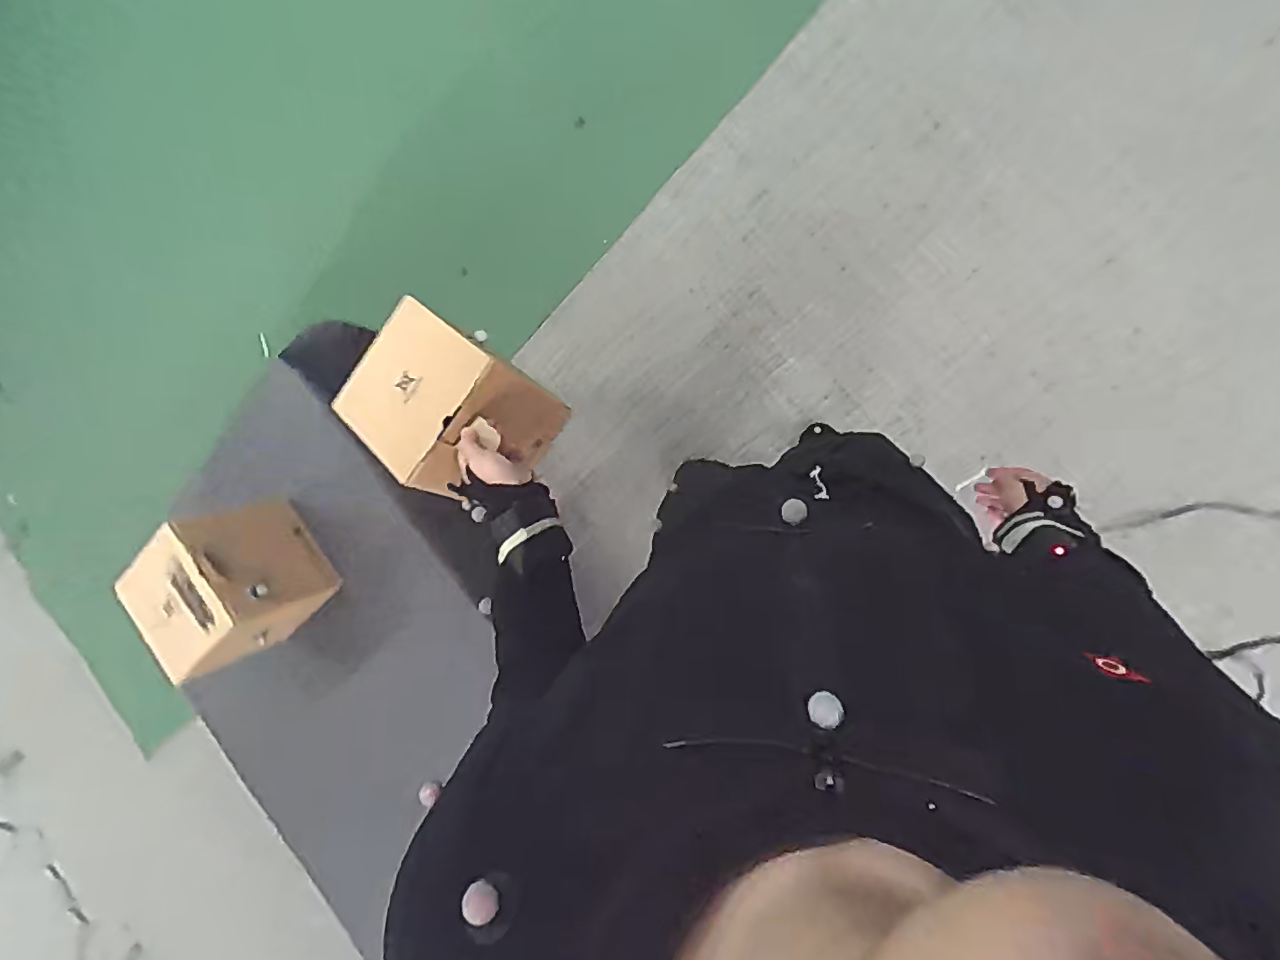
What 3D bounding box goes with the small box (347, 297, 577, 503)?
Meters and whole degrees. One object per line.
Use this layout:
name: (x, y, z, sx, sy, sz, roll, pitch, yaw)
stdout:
small box: (-0.216, -0.090, 0.681, 0.179, 0.176, 0.168, 39, 94, 28)
